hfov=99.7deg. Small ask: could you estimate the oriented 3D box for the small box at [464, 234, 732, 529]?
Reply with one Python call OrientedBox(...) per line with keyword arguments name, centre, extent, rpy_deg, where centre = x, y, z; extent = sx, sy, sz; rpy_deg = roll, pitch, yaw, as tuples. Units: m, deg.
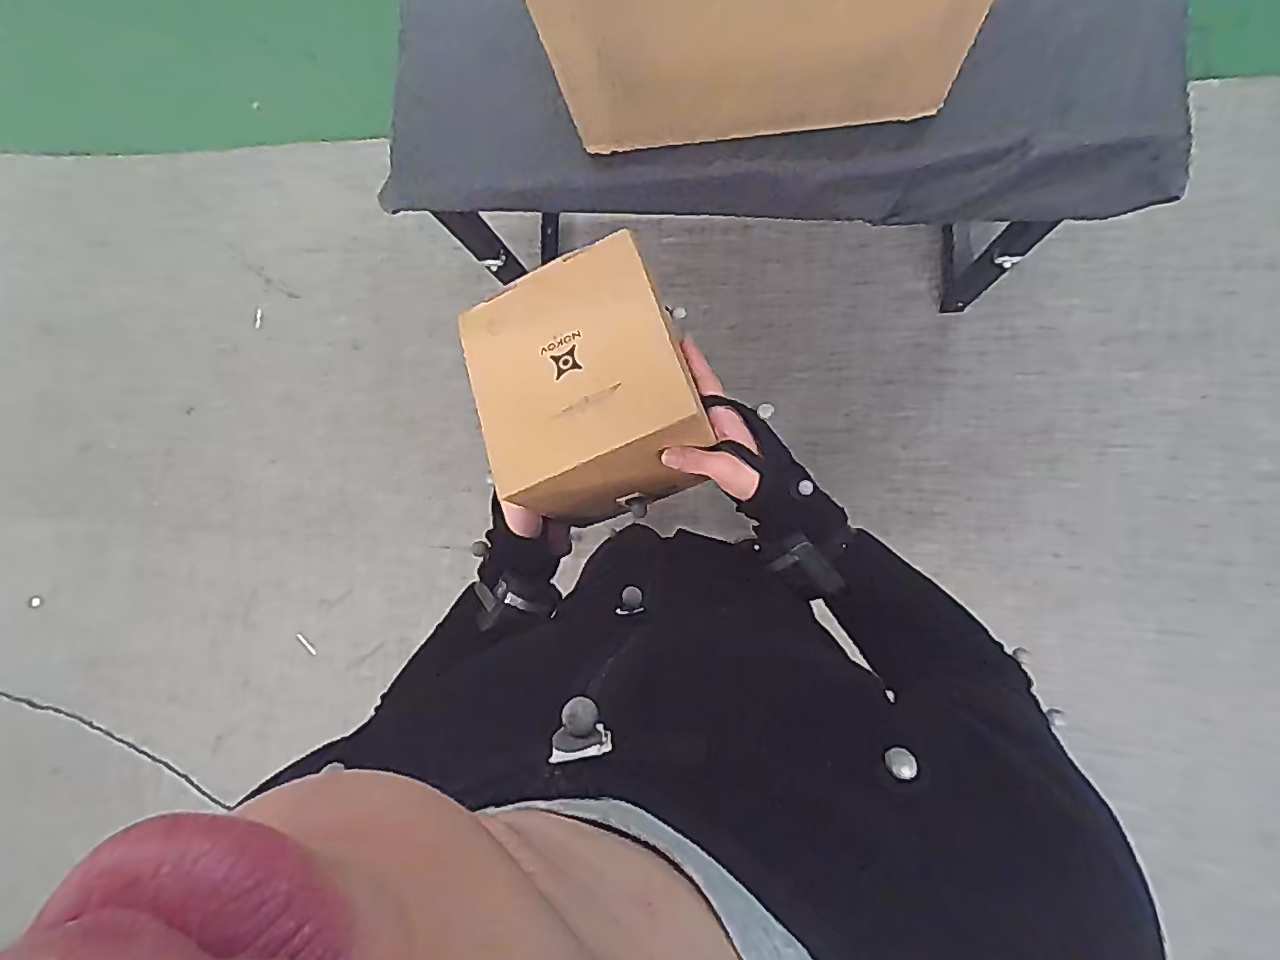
OrientedBox(name="small box", centre=(-0.029, -0.072, 0.492), extent=(0.168, 0.176, 0.179), rpy_deg=(-23, 71, 12))
